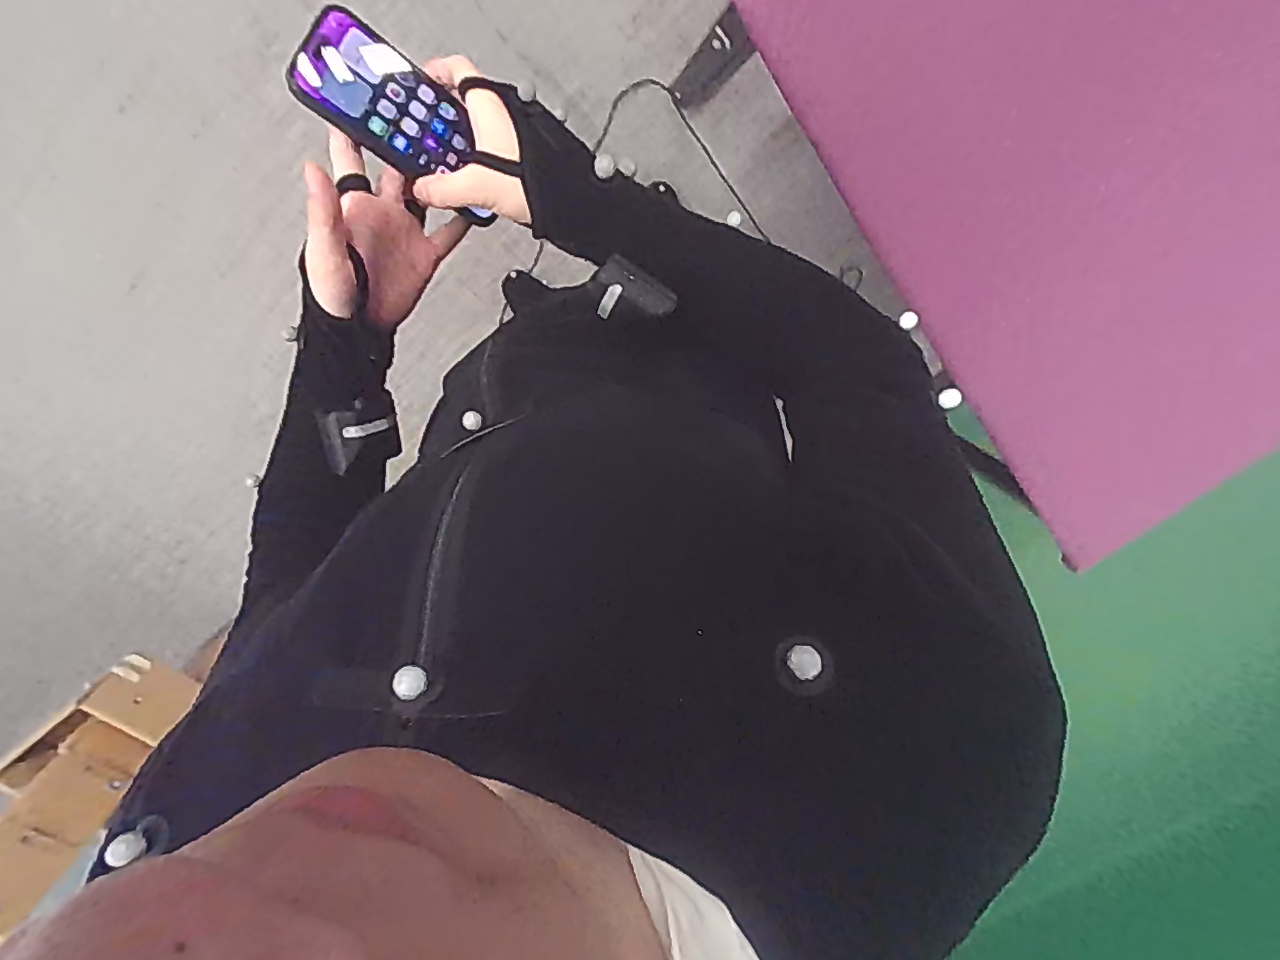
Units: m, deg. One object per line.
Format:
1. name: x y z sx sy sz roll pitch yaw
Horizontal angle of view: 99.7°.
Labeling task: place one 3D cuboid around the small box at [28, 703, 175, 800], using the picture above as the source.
1. small box: -1.359 0.713 1.380 0.179 0.176 0.168 -34 114 9

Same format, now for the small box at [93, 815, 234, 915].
1. small box: -1.170 0.983 1.346 0.179 0.176 0.168 -37 114 12

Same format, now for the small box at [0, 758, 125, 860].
1. small box: -1.343 0.774 1.229 0.179 0.176 0.168 -38 113 12

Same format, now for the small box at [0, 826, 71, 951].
1. small box: -1.322 0.842 1.081 0.179 0.176 0.168 -38 114 12
